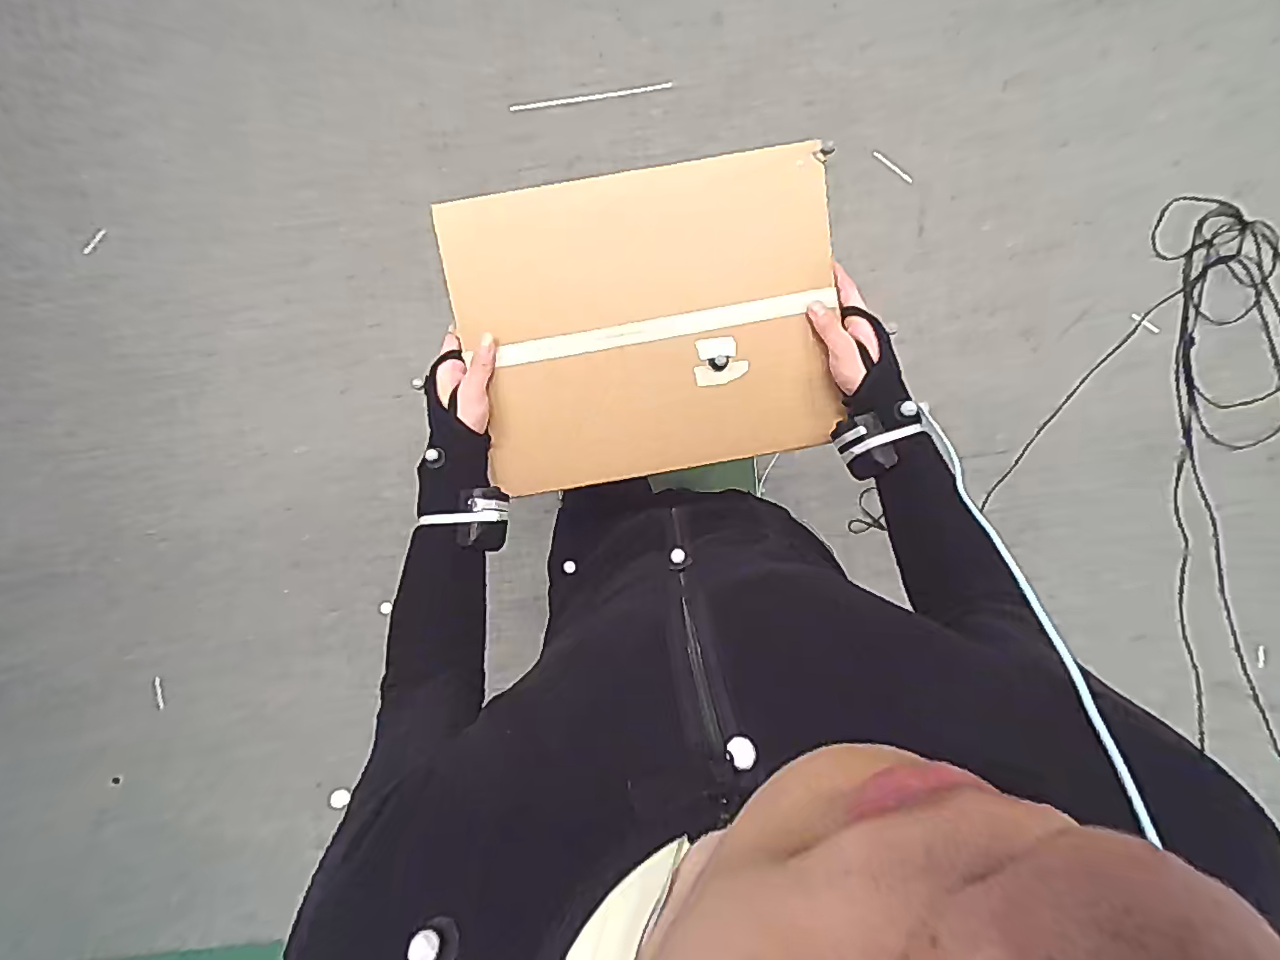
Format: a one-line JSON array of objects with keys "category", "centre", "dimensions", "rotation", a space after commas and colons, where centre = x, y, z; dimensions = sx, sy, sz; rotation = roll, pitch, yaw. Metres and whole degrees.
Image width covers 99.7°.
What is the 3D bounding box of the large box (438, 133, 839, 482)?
[{"category": "large box", "centre": [0.000, -0.206, 0.735], "dimensions": [0.408, 0.320, 0.320], "rotation": [-10, 102, -1]}]
